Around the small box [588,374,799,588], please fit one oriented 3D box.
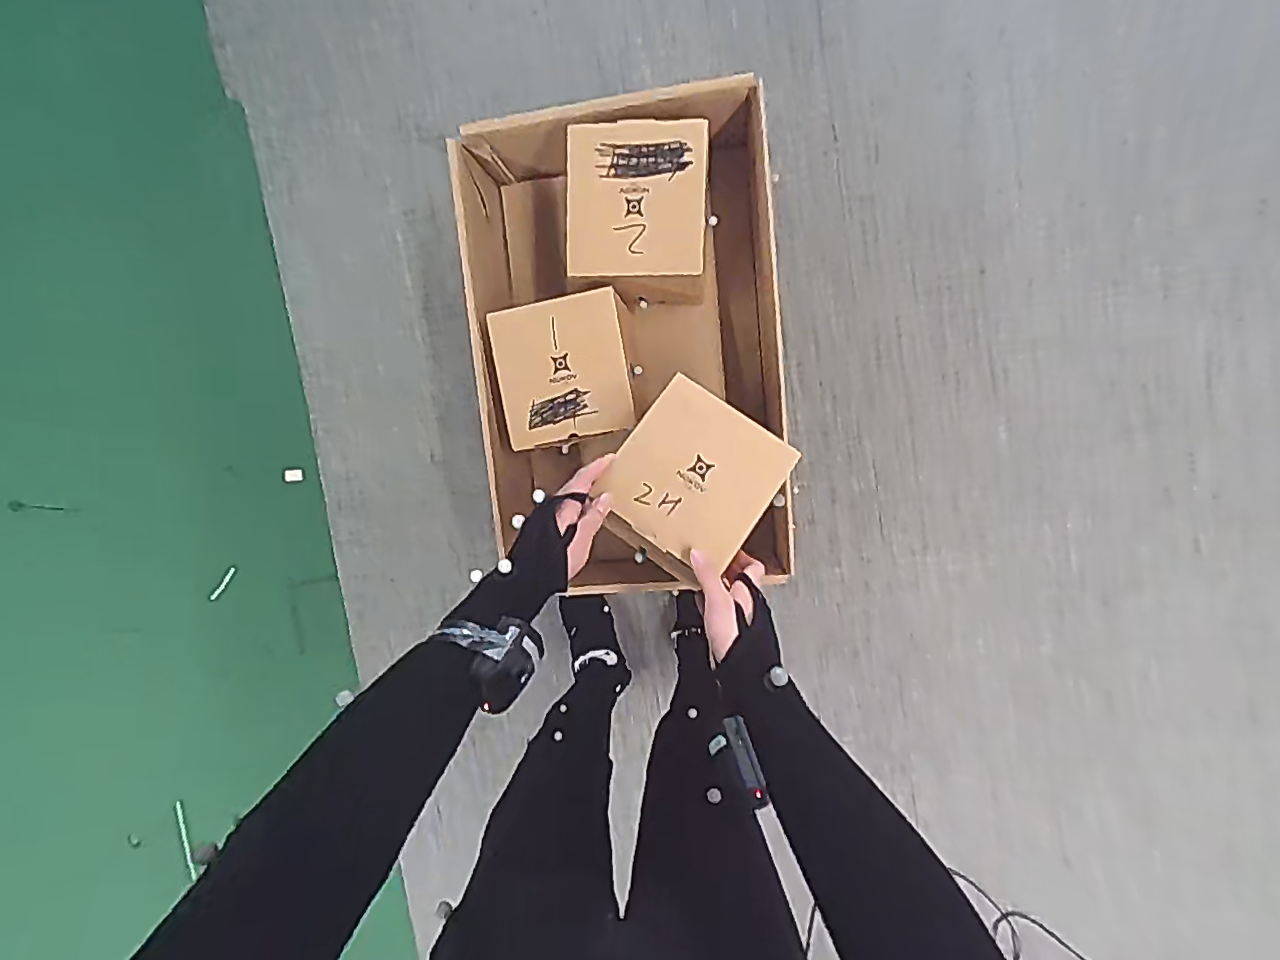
[{"bbox_3d":[0.055,0.012,0.649,0.168,0.176,0.179,35,79,7],"label":"small box"}]
